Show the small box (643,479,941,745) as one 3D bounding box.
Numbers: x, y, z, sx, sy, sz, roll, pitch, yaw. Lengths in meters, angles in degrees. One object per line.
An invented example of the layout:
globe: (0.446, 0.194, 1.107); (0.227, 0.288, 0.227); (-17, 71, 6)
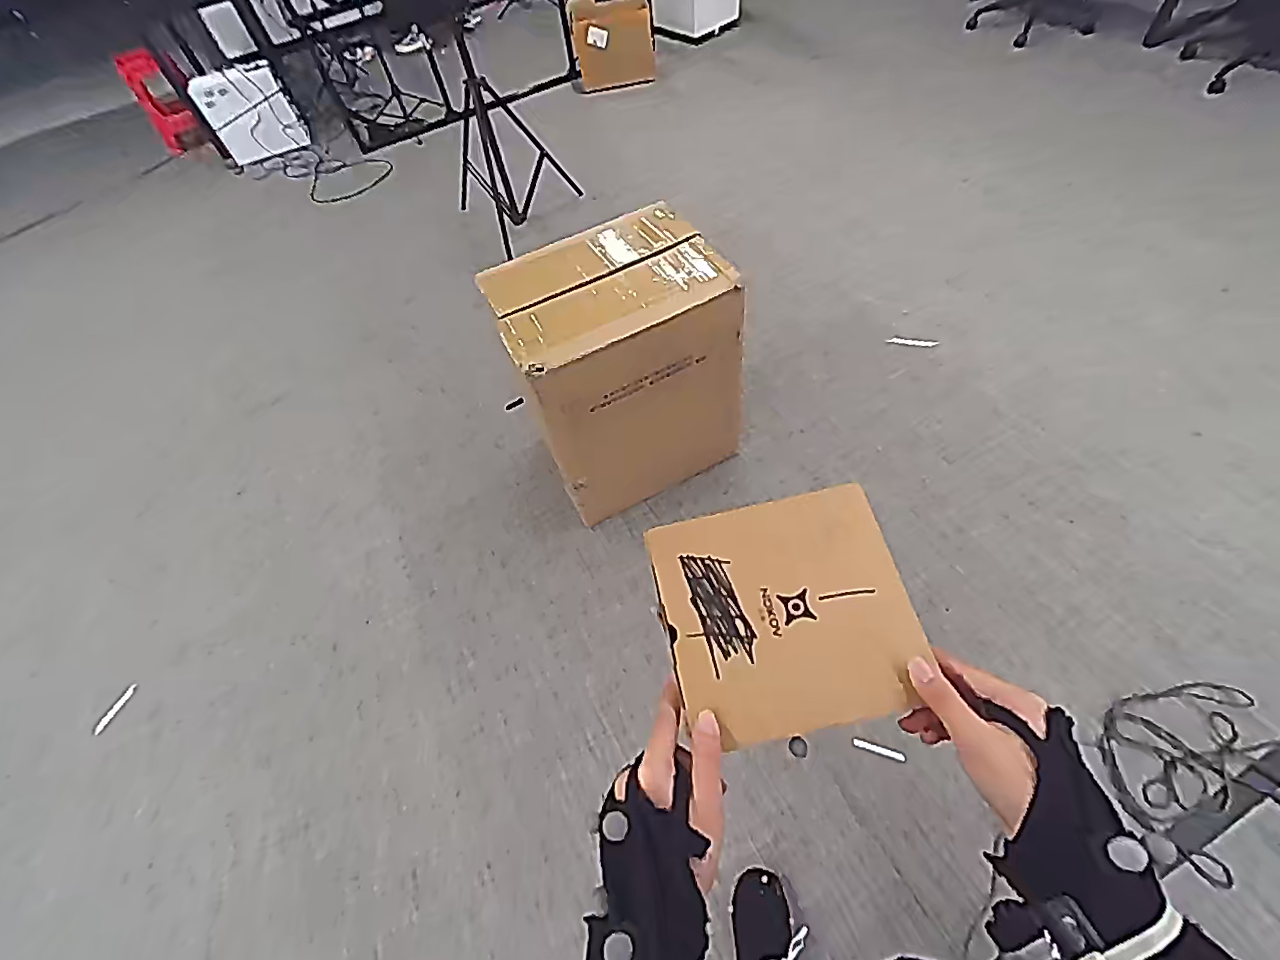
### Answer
small box: (0.109, 0.122, 0.462); (0.179, 0.176, 0.168); (-12, 63, 0)
